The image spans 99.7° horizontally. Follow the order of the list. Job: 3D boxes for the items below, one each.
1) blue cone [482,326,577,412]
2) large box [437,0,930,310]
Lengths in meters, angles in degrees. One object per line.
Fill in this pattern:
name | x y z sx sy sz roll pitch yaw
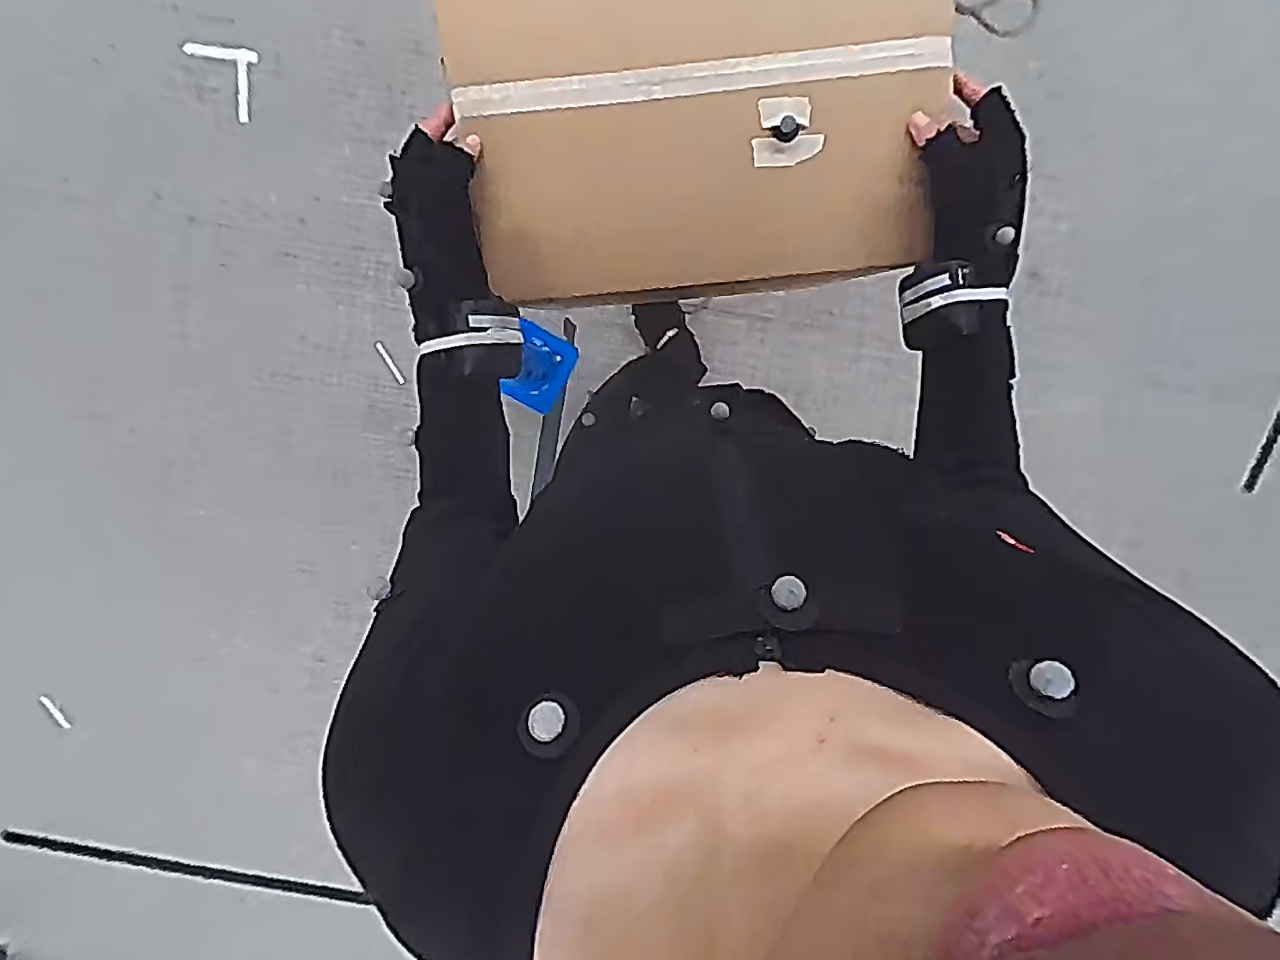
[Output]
blue cone | -0.289 -0.260 1.274 0.193 0.380 0.192 31 102 -4
large box | 0.038 -0.376 0.596 0.408 0.320 0.320 -6 106 1
